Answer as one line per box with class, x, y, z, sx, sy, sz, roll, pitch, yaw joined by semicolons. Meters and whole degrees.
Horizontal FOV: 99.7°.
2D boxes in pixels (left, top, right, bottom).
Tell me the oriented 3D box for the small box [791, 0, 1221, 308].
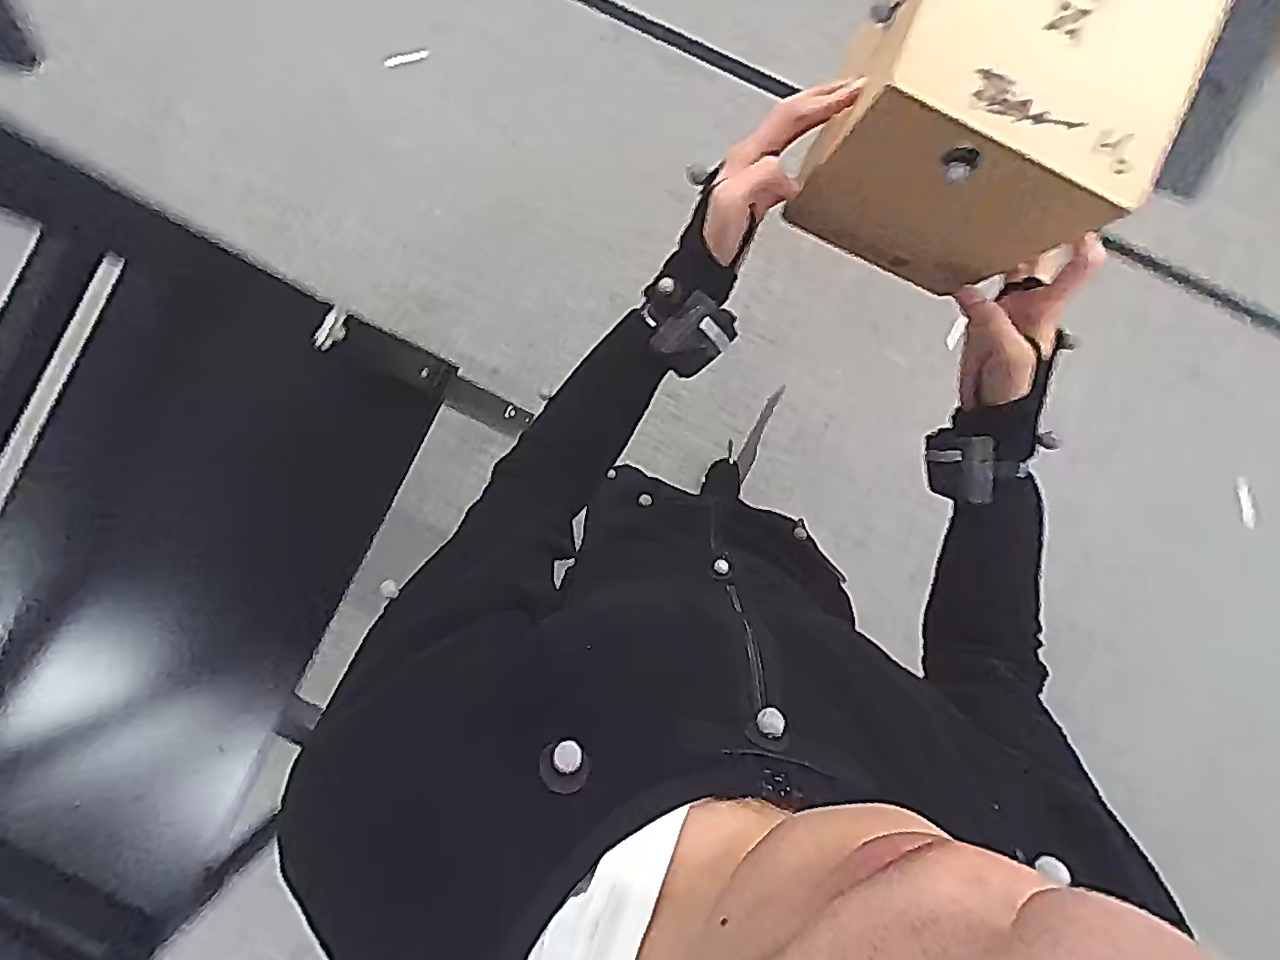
small box;0.235;-0.256;0.391;0.168;0.176;0.179;24;88;-7
